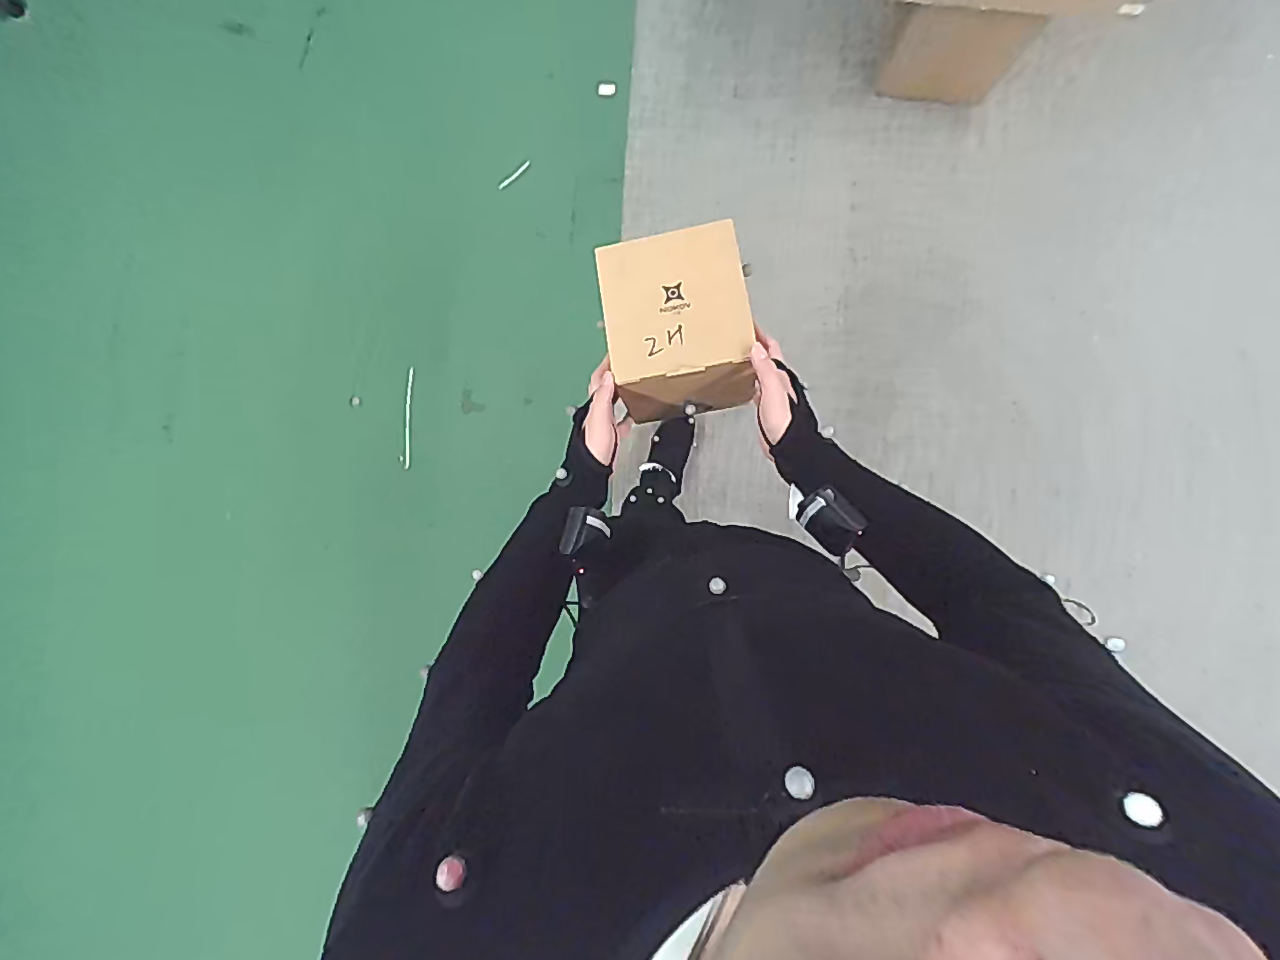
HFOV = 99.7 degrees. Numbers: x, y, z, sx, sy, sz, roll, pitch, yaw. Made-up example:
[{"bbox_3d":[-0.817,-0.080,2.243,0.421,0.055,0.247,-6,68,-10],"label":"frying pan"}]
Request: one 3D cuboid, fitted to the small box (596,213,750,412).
[{"bbox_3d":[0.047,-0.203,0.700,0.168,0.176,0.179,-8,79,9],"label":"small box"}]
